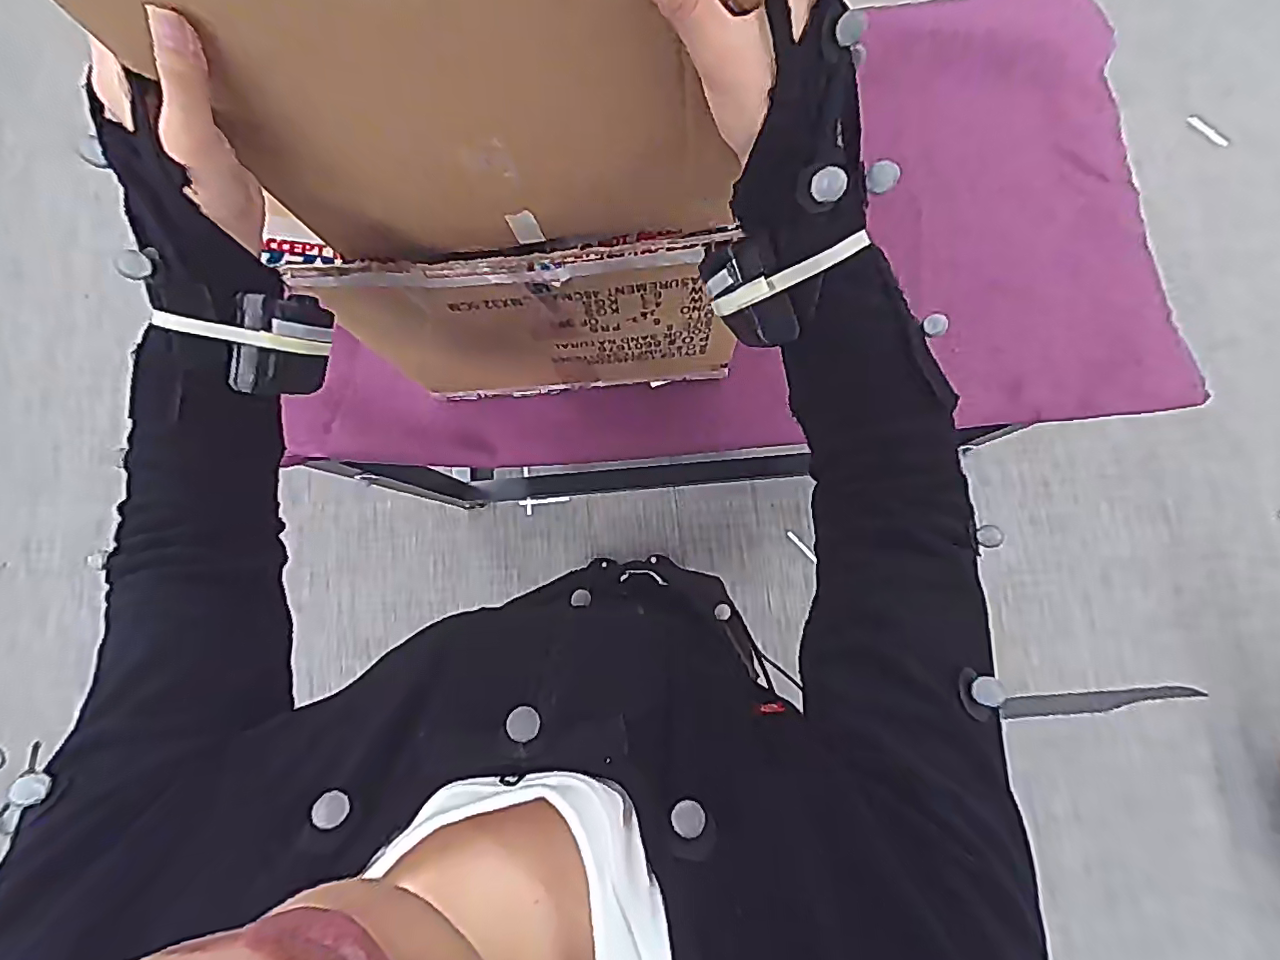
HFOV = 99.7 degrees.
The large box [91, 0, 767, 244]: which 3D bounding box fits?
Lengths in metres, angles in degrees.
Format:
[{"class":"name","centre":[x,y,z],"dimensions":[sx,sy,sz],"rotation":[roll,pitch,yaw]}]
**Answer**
[{"class":"large box","centre":[-0.100,-0.406,0.291],"dimensions":[0.320,0.320,0.408],"rotation":[-3,81,6]}]
